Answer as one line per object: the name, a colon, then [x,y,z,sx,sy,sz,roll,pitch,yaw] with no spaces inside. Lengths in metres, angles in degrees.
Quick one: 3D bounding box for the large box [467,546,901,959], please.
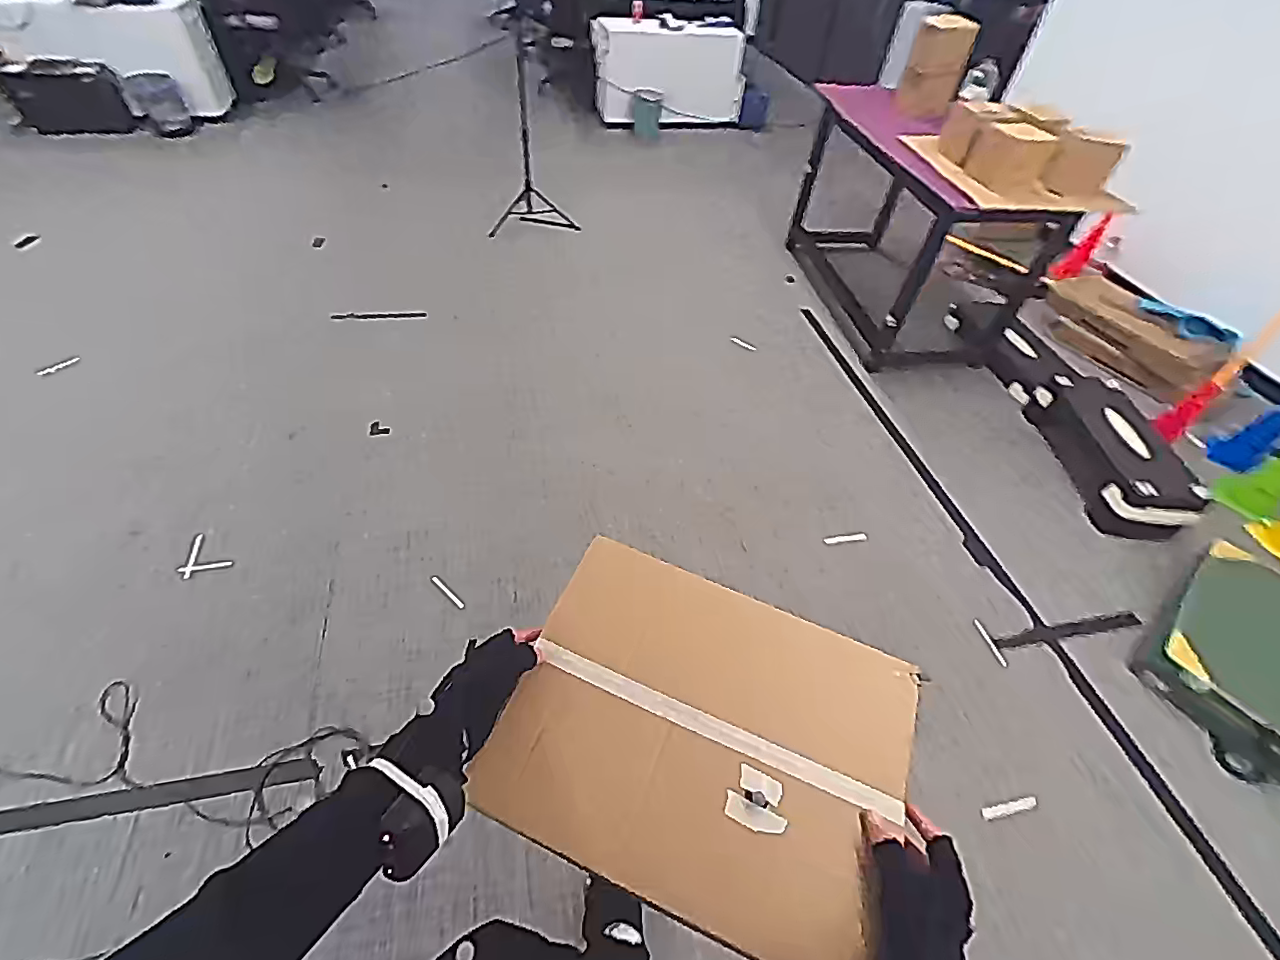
large box: [0.054,0.347,0.699,0.408,0.320,0.320,21,56,10]
